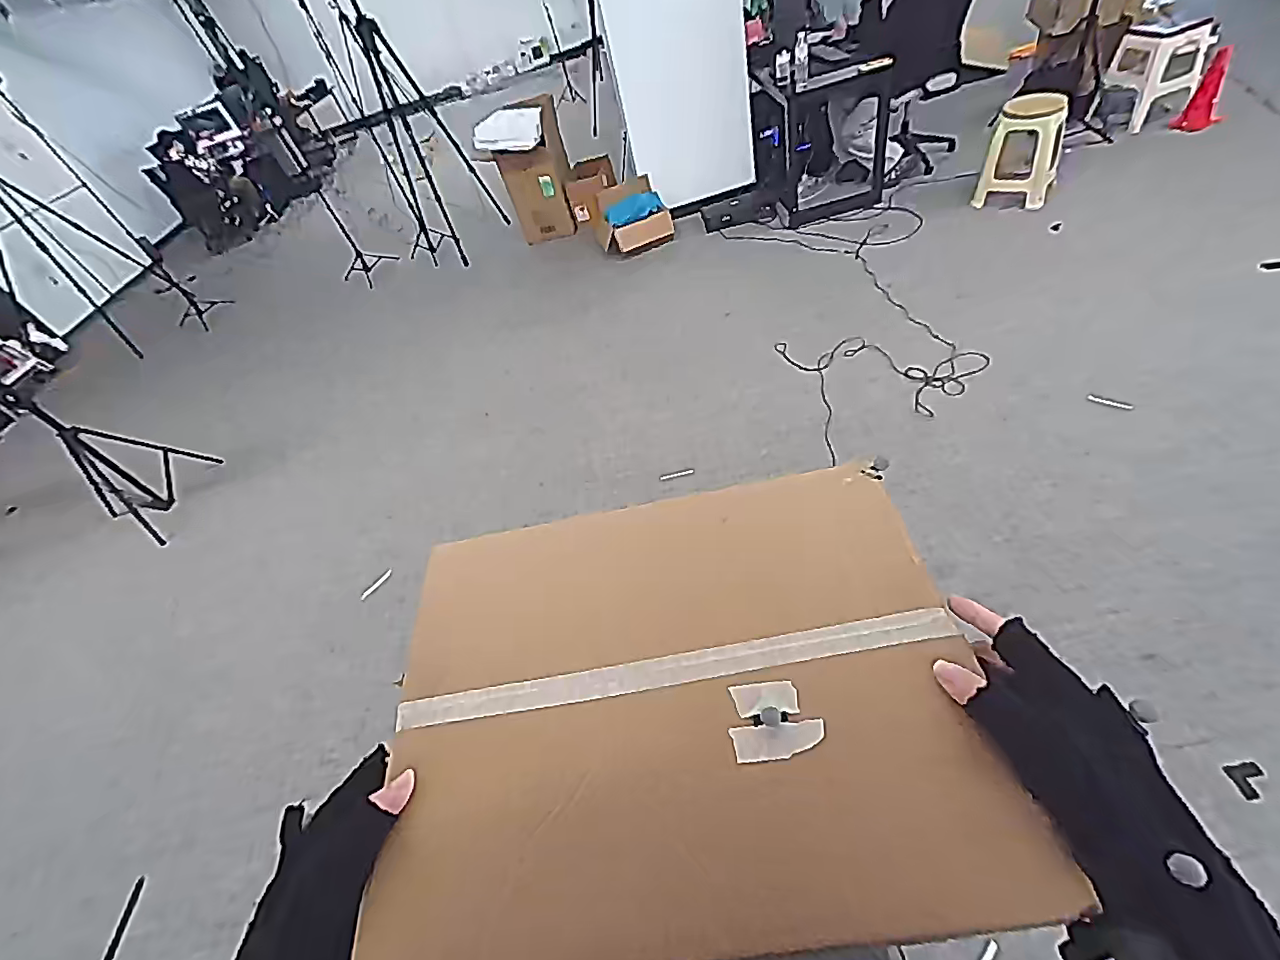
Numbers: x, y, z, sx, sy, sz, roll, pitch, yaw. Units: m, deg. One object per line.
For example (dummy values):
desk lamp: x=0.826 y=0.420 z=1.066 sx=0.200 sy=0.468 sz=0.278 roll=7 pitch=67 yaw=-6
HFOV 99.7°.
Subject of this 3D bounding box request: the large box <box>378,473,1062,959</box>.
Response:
large box: x=0.049 y=0.241 z=0.512 sx=0.408 sy=0.320 sz=0.320 roll=-11 pitch=48 yaw=5
